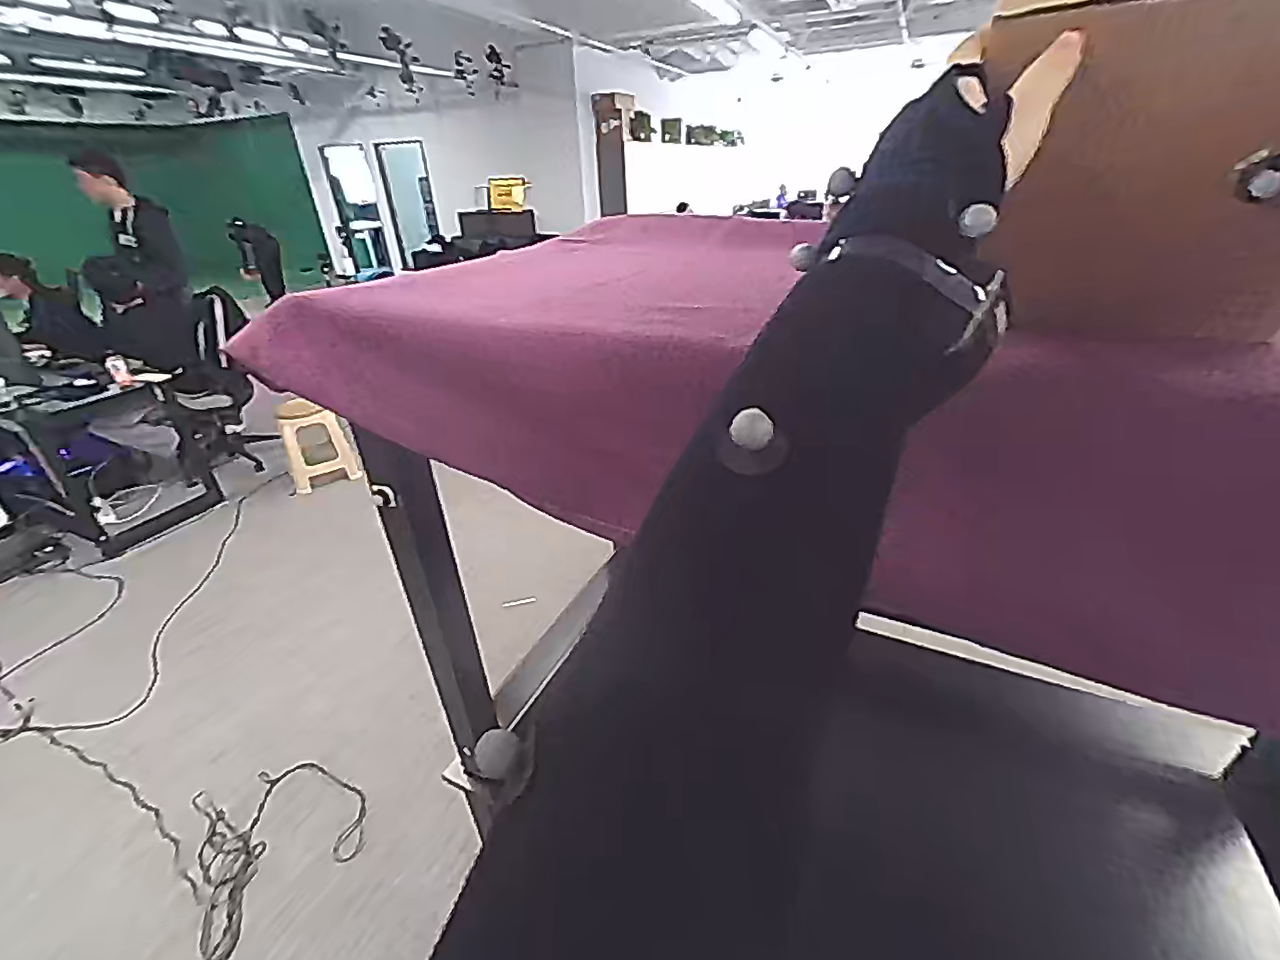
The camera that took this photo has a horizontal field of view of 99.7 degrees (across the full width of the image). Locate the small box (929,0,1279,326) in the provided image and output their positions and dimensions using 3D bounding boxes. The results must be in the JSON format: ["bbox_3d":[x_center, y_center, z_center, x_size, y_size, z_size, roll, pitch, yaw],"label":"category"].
[{"bbox_3d":[0.296,-0.210,0.325,0.179,0.176,0.168,14,51,27],"label":"small box"}]
